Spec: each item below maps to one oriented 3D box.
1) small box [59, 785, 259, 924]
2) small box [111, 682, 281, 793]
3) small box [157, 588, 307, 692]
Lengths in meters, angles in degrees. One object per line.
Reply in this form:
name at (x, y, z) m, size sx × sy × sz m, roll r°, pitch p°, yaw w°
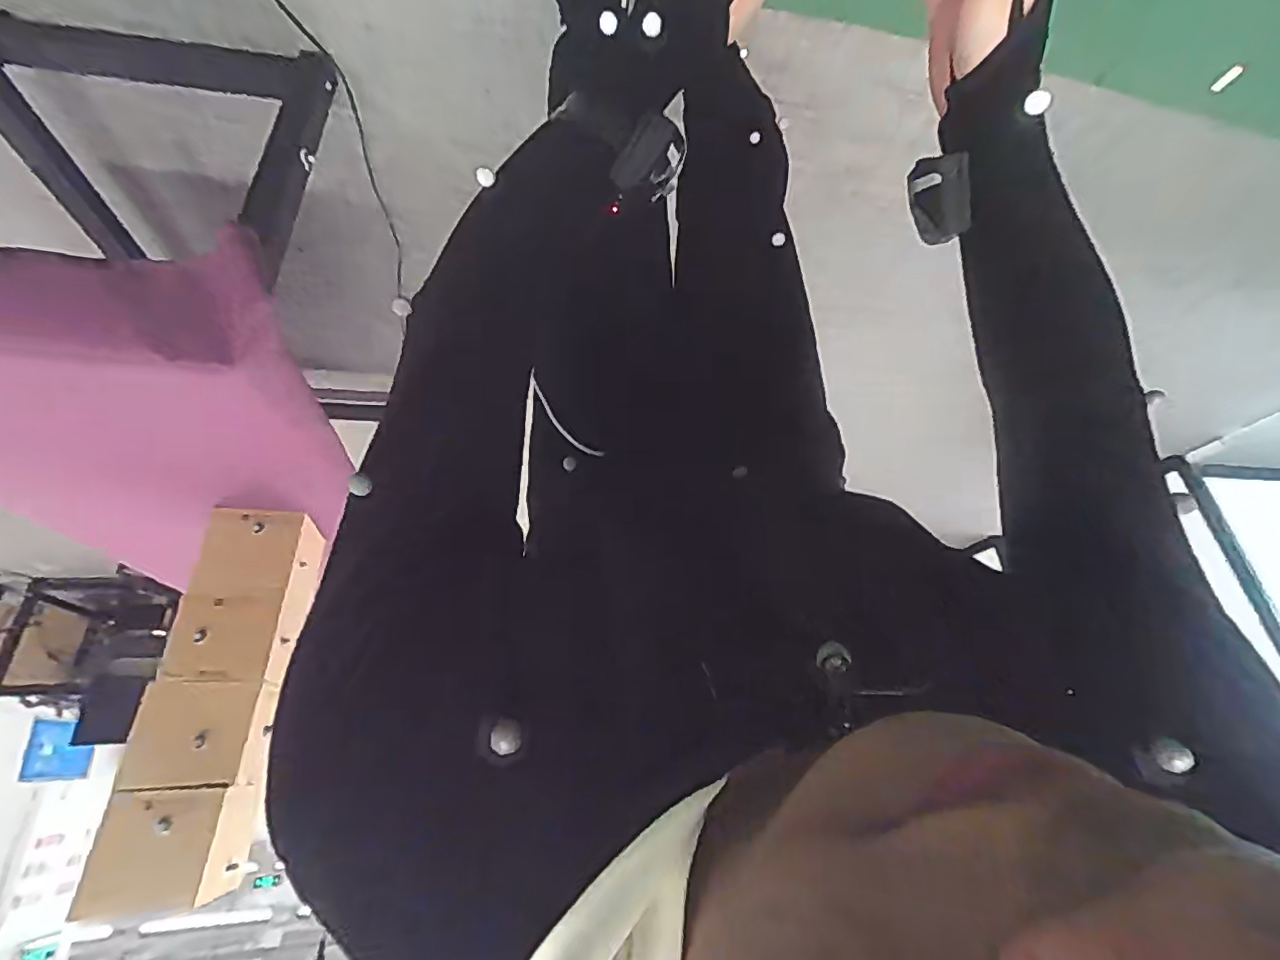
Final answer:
small box at (-0.769, 0.603, 0.894) m, size 0.168 × 0.176 × 0.179 m, roll 5°, pitch 151°, yaw -13°
small box at (-0.773, 0.457, 0.970) m, size 0.179 × 0.176 × 0.168 m, roll 5°, pitch 151°, yaw -15°
small box at (-0.773, 0.313, 1.046) m, size 0.168 × 0.176 × 0.179 m, roll 5°, pitch 152°, yaw -15°
